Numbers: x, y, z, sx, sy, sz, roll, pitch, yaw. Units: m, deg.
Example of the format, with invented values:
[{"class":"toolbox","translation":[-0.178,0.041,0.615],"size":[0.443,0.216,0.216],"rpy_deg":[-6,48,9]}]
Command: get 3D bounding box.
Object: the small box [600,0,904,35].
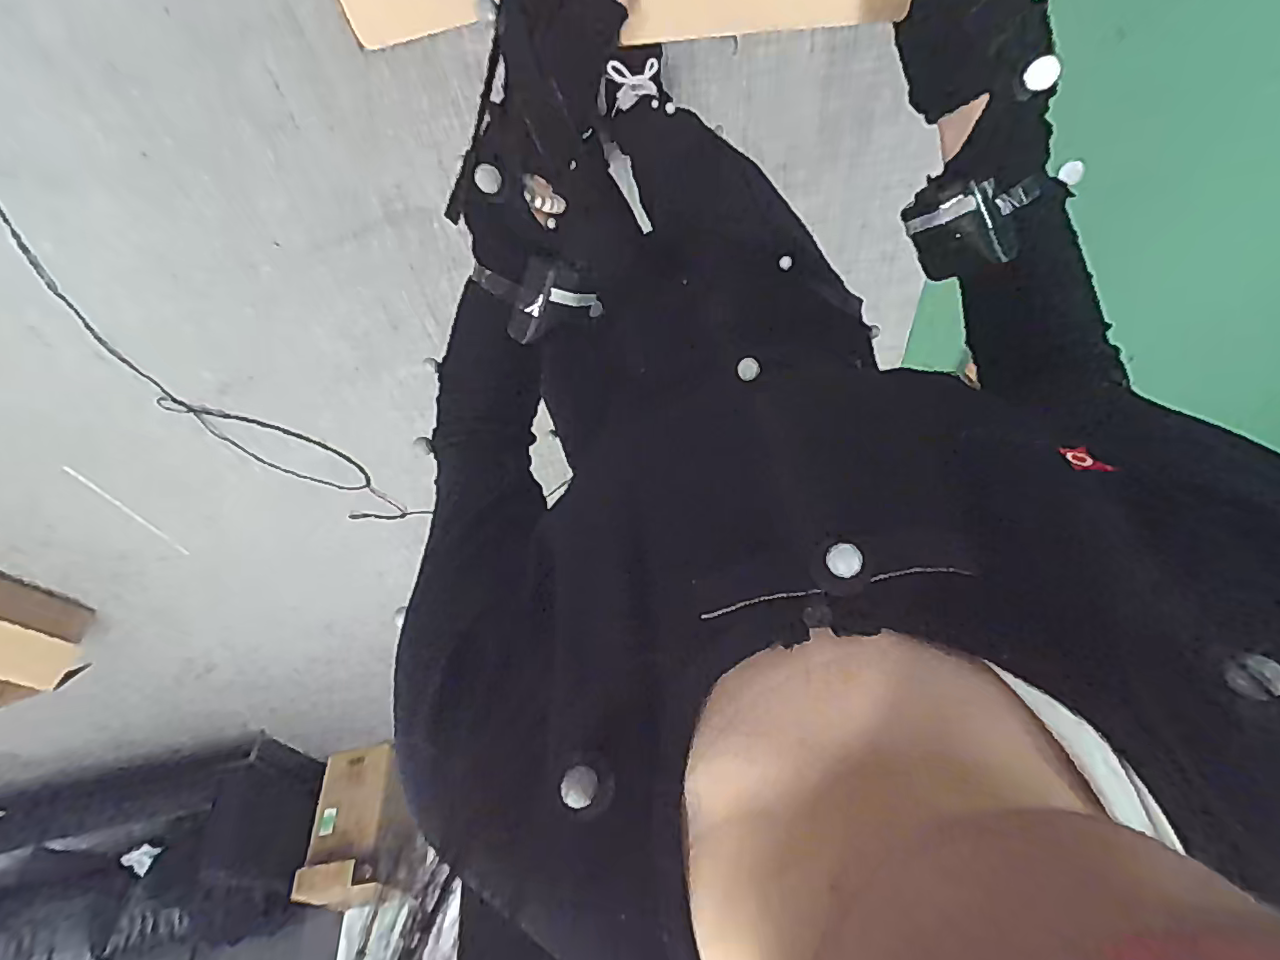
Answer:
[{"class":"small box","translation":[0.055,-0.379,0.313],"size":[0.179,0.176,0.168],"rpy_deg":[-8,137,-4]}]
